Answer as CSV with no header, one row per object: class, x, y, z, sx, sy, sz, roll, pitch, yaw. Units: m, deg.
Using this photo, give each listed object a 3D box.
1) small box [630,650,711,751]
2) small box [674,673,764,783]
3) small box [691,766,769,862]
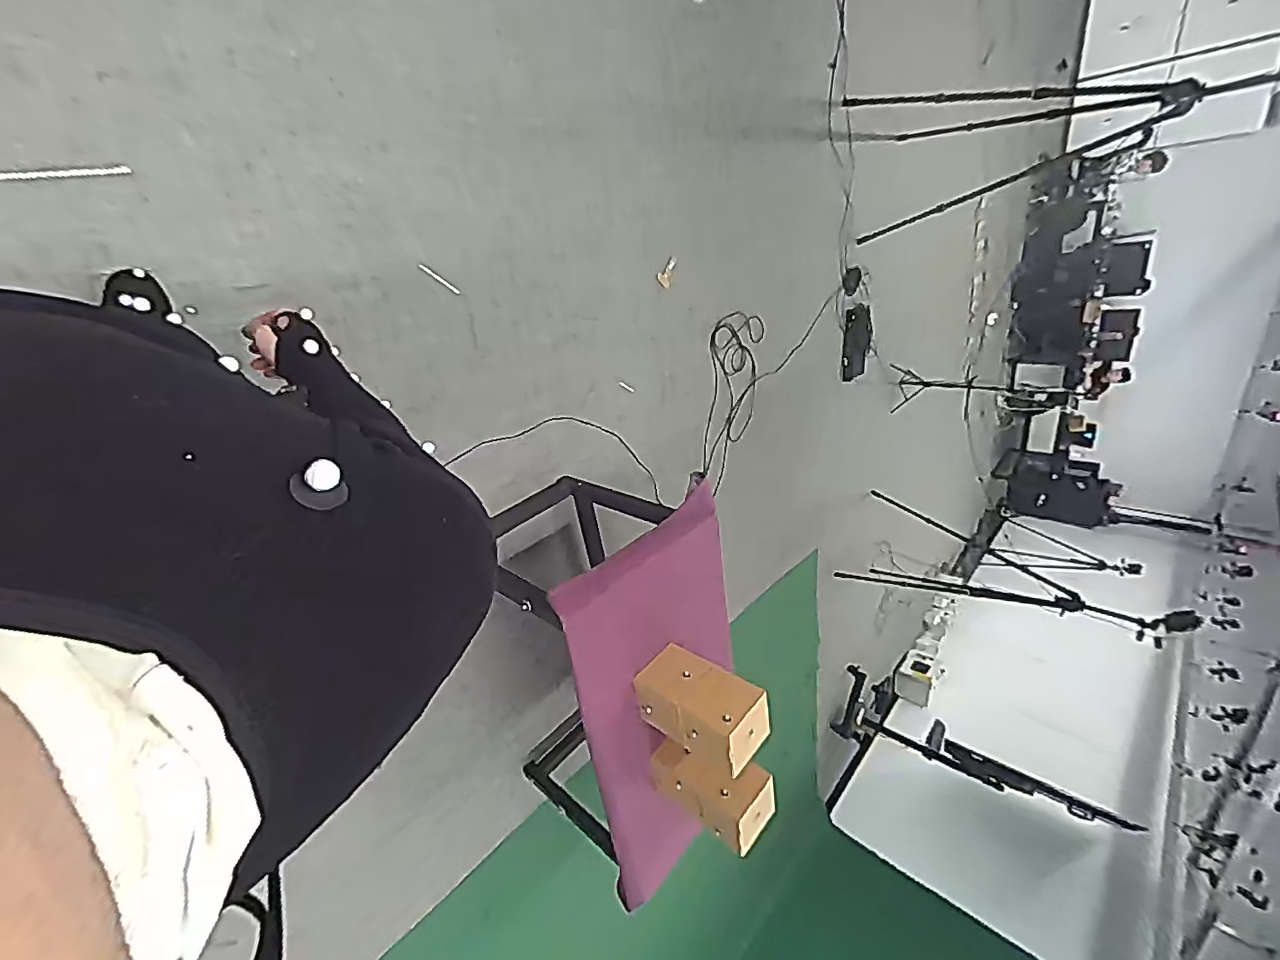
small box,0.096,0.627,1.563,0.179,0.176,0.168,-32,122,-38
small box,0.215,0.657,1.457,0.179,0.176,0.168,-32,124,-37
small box,0.261,0.955,1.591,0.179,0.176,0.168,-30,122,-39
